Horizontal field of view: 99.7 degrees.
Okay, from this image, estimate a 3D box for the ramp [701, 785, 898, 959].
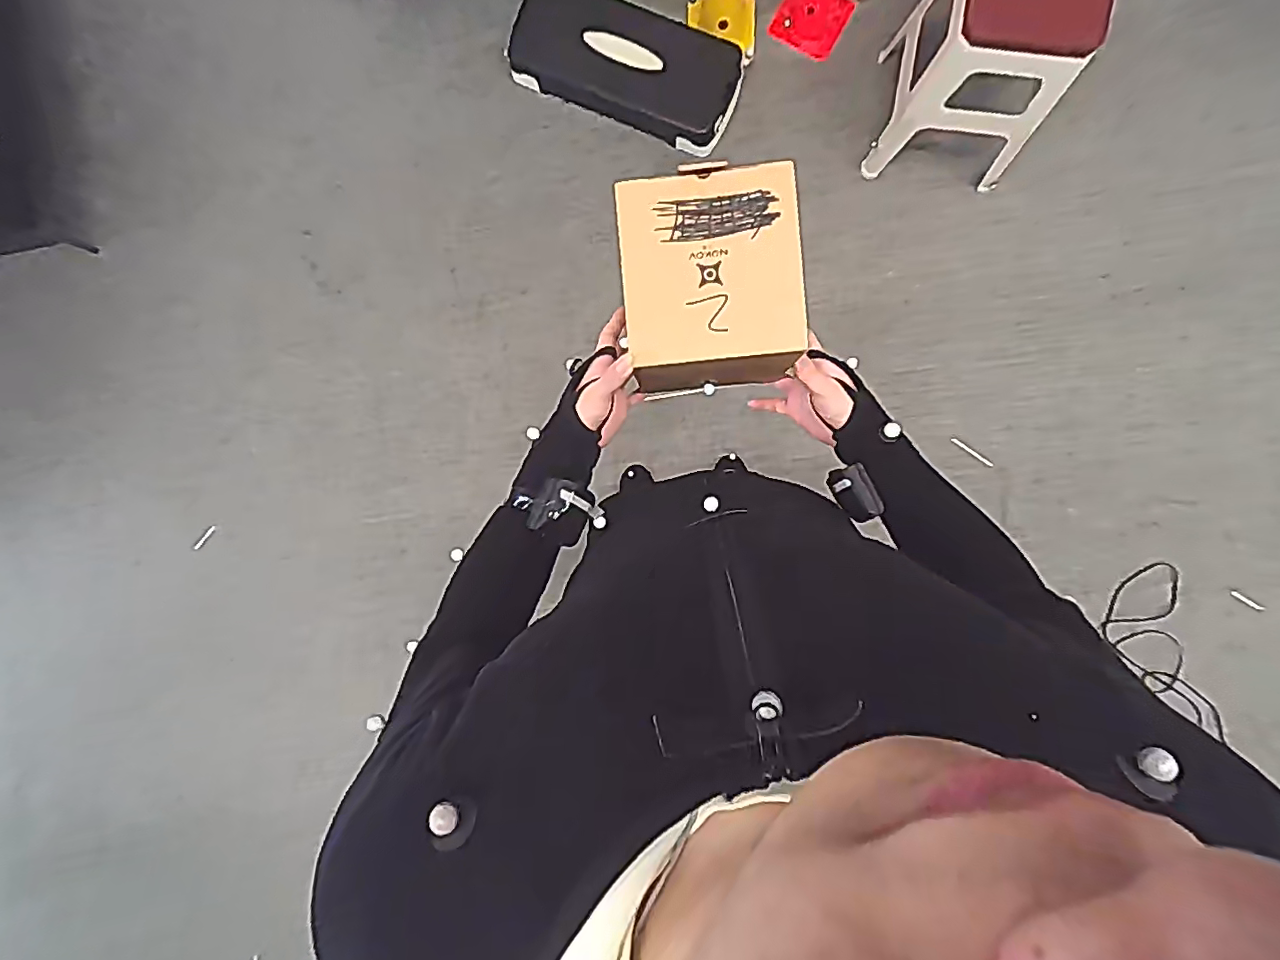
[{"bbox_3d":[0.494,1.431,1.537,0.509,0.206,0.991,-11,89,5],"label":"ramp"}]
